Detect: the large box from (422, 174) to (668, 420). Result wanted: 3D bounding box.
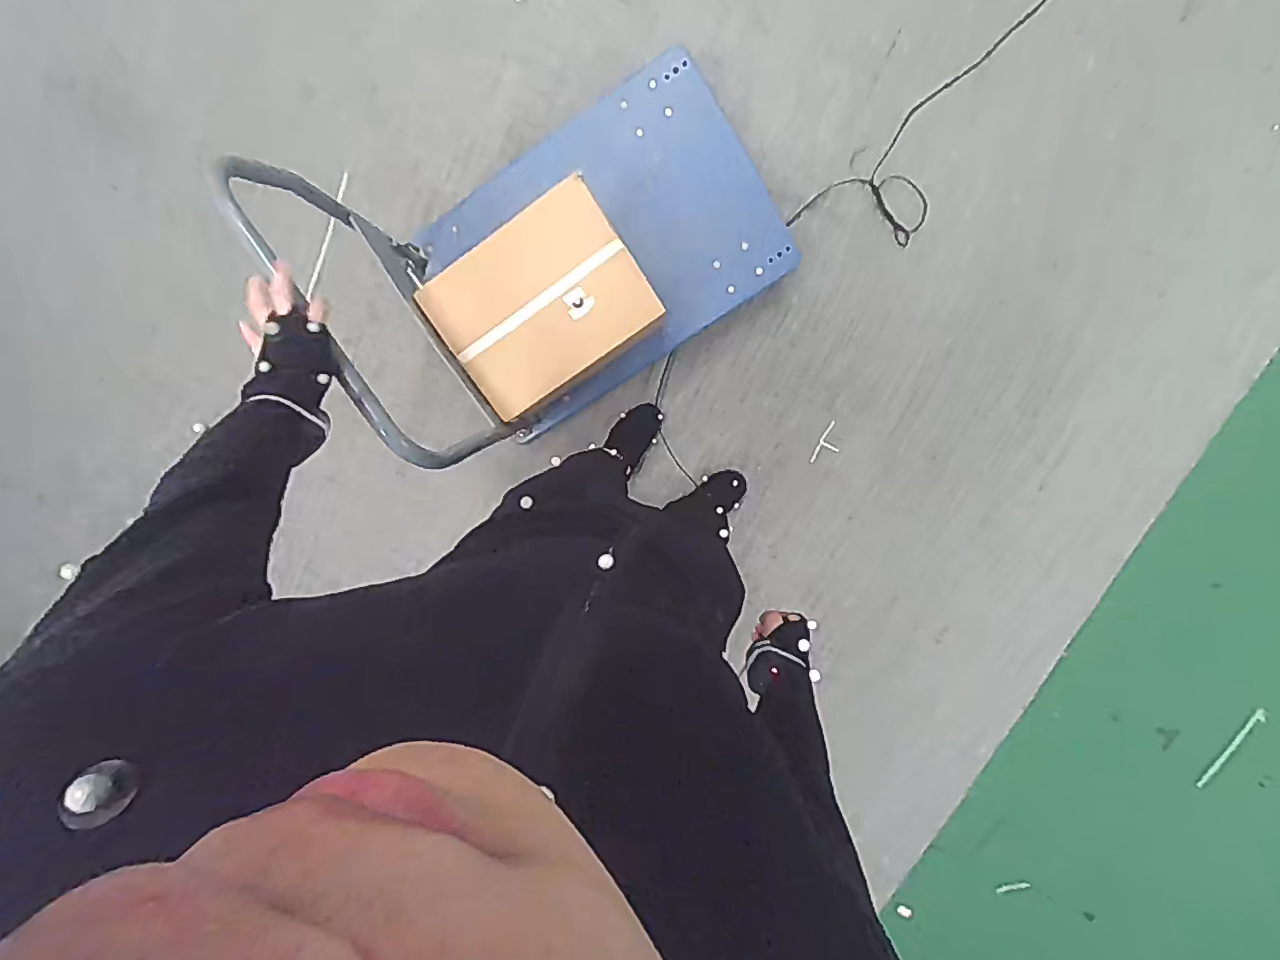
[{"bbox_3d":[-0.188,-0.376,1.216,0.408,0.320,0.320,-33,99,6],"label":"large box"}]
